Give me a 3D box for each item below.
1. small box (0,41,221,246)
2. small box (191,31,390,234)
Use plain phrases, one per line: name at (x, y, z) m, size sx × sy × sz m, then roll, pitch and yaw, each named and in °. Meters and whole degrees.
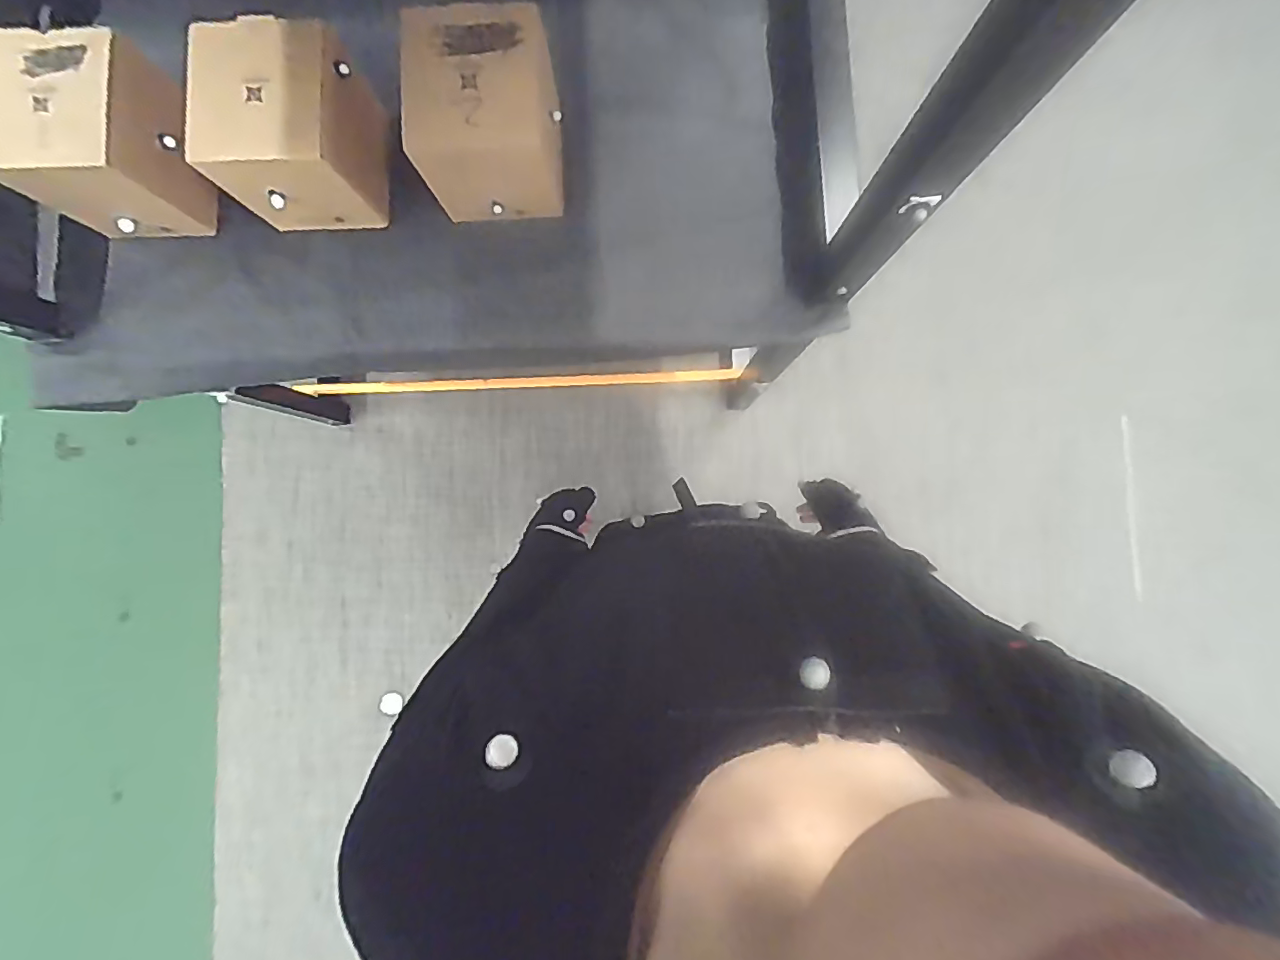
small box at (-0.710, -0.444, 0.735) m, size 0.168 × 0.176 × 0.179 m, roll -1°, pitch 87°, yaw 1°
small box at (-0.457, -0.452, 0.733) m, size 0.168 × 0.176 × 0.179 m, roll -1°, pitch 86°, yaw 1°
